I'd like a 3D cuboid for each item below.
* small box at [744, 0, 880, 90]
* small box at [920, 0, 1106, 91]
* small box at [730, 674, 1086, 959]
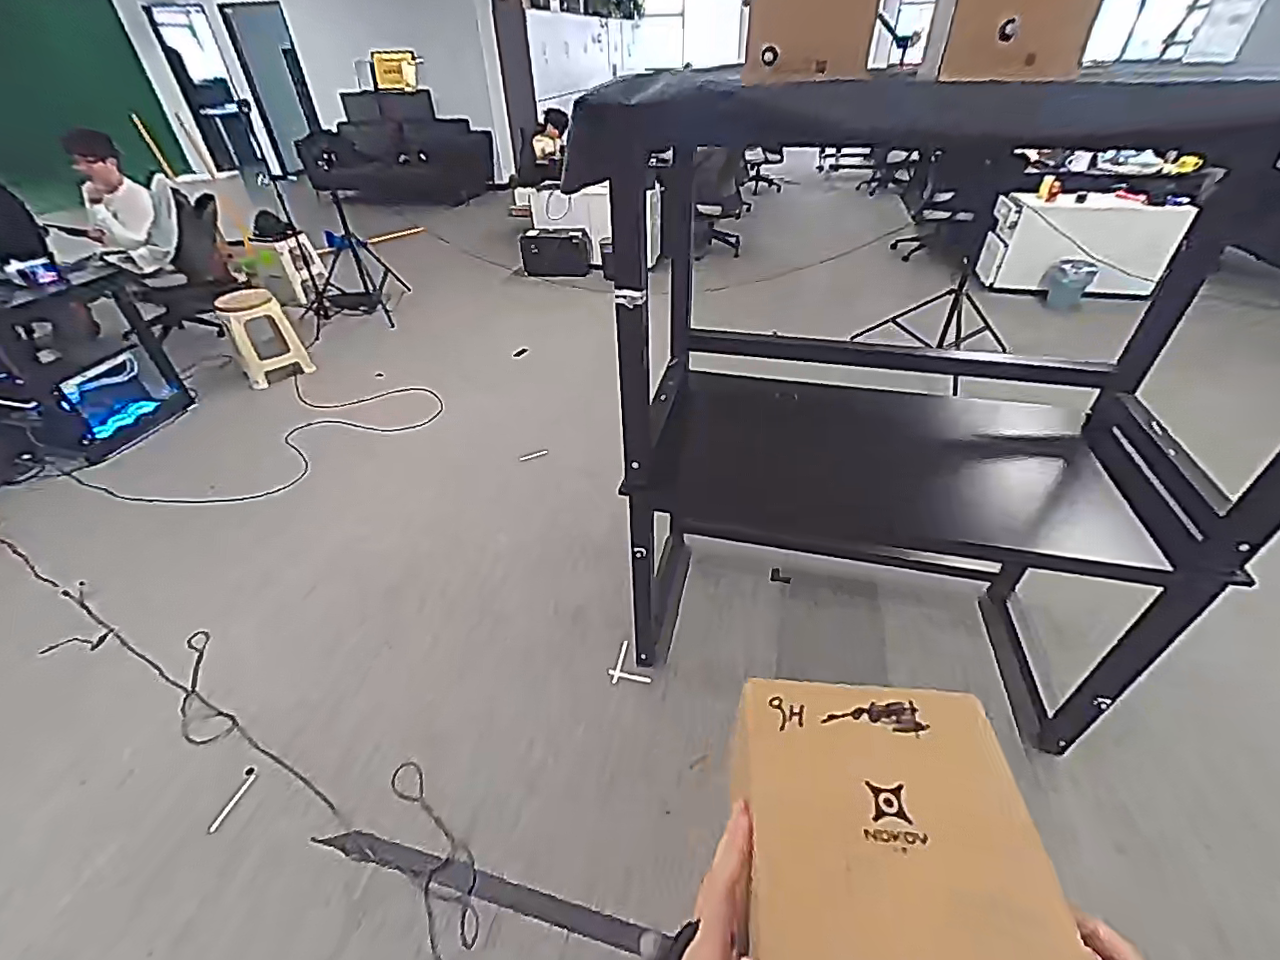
[{"bbox_3d":[0.241,-0.655,0.759,0.168,0.176,0.179,7,37,9],"label":"small box"},{"bbox_3d":[0.491,-0.624,0.716,0.168,0.176,0.179,8,38,11],"label":"small box"},{"bbox_3d":[0.153,0.263,0.377,0.168,0.176,0.179,3,40,5],"label":"small box"}]
